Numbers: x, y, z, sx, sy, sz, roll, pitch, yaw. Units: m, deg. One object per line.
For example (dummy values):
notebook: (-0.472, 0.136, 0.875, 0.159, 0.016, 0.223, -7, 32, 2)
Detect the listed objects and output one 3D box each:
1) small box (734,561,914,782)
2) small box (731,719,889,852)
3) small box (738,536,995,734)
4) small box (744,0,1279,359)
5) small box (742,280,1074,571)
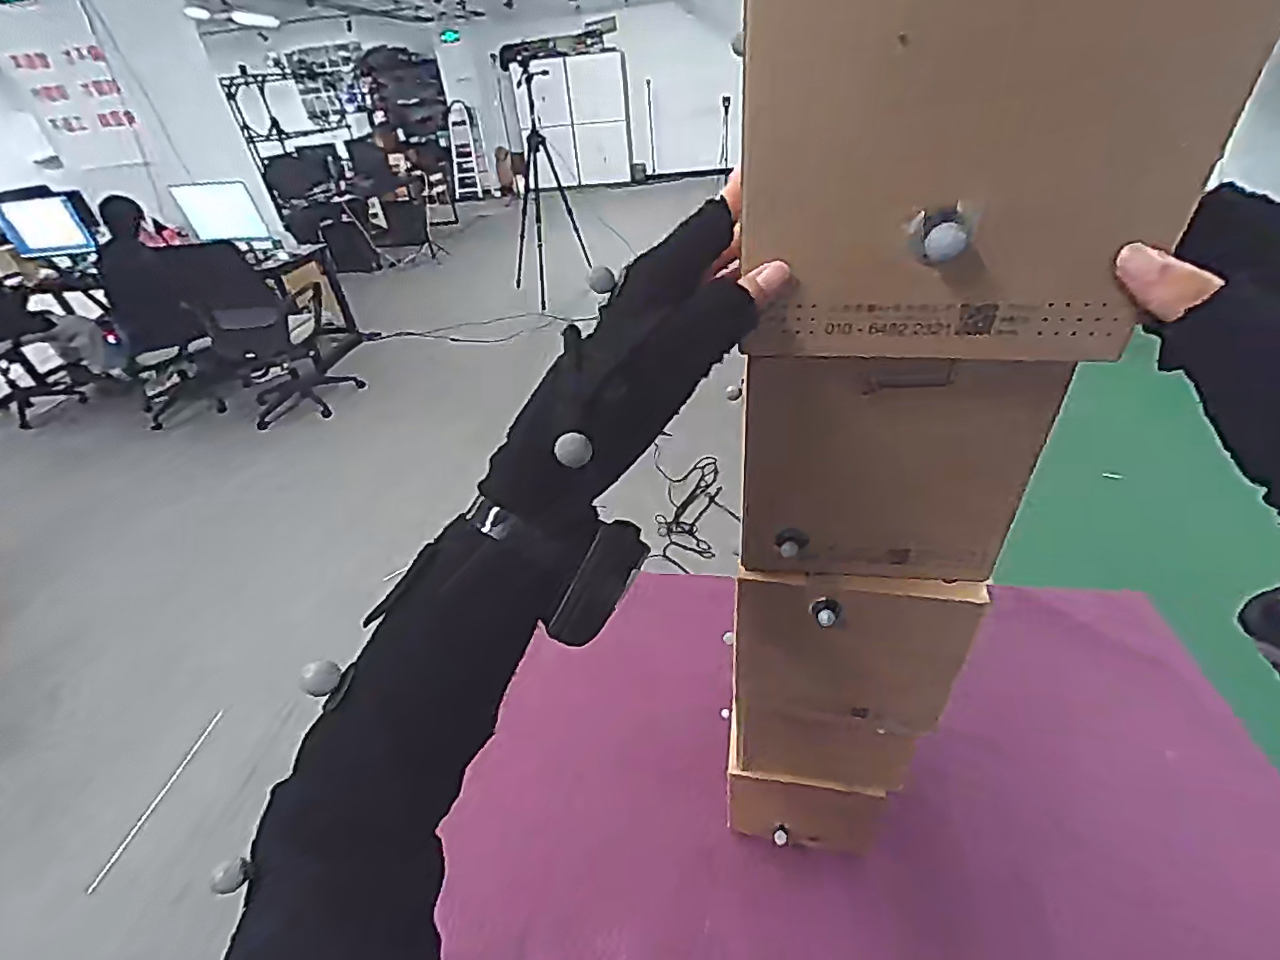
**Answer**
small box: (0.197, 0.205, 0.596, 0.179, 0.176, 0.168, 2, 38, 12)
small box: (0.205, 0.334, 0.692, 0.168, 0.176, 0.179, 2, 38, 13)
small box: (0.178, 0.089, 0.479, 0.168, 0.176, 0.179, 3, 37, 14)
small box: (0.142, -0.175, 0.261, 0.168, 0.176, 0.179, 4, 41, 15)
small box: (0.161, -0.052, 0.393, 0.168, 0.176, 0.179, 1, 36, 10)
